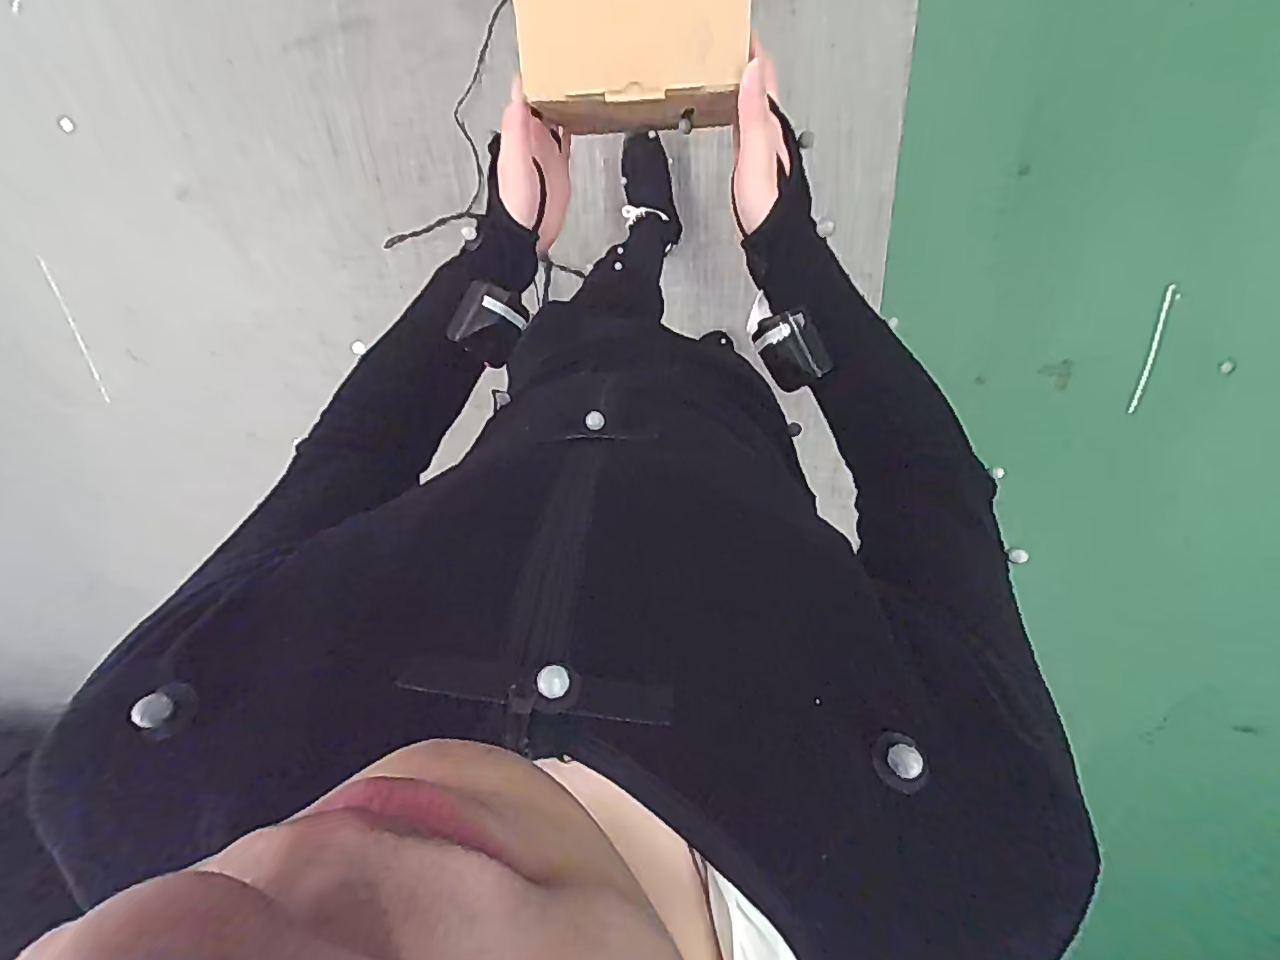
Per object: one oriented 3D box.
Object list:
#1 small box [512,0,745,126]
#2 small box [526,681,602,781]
[{"bbox_3d":[-0.001,-0.394,0.430,0.168,0.176,0.179,1,115,5],"label":"small box"},{"bbox_3d":[-0.201,0.673,1.463,0.168,0.176,0.179,4,115,7],"label":"small box"}]
